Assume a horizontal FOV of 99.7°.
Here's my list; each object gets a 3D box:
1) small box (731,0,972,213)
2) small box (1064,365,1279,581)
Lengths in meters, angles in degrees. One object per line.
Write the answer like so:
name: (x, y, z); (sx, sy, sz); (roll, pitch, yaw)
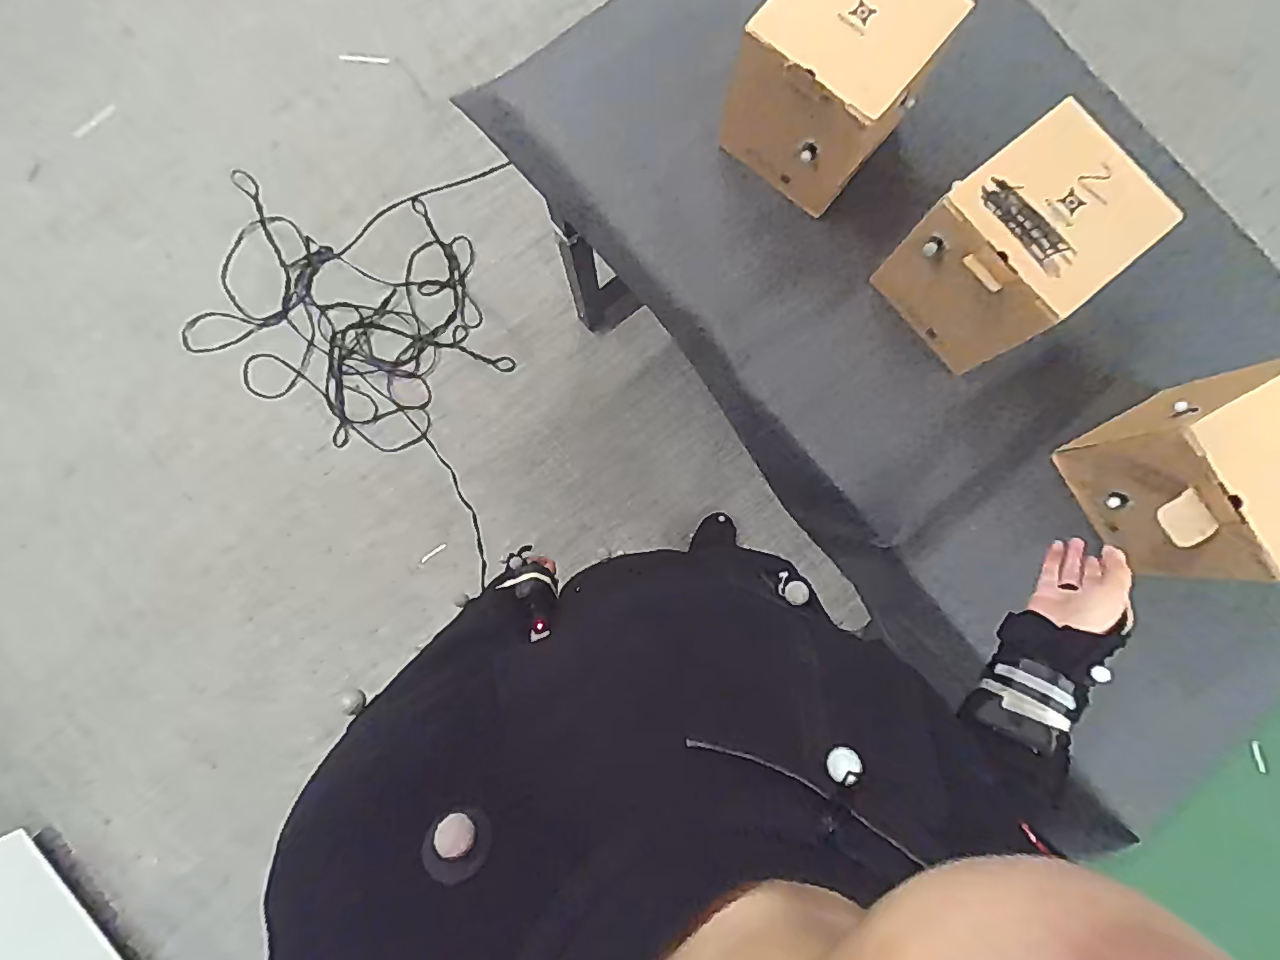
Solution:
small box: (0.223, -0.457, 0.628); (0.168, 0.176, 0.179); (39, 84, 3)
small box: (0.624, -0.010, 0.580); (0.179, 0.176, 0.168); (-28, 85, -3)
